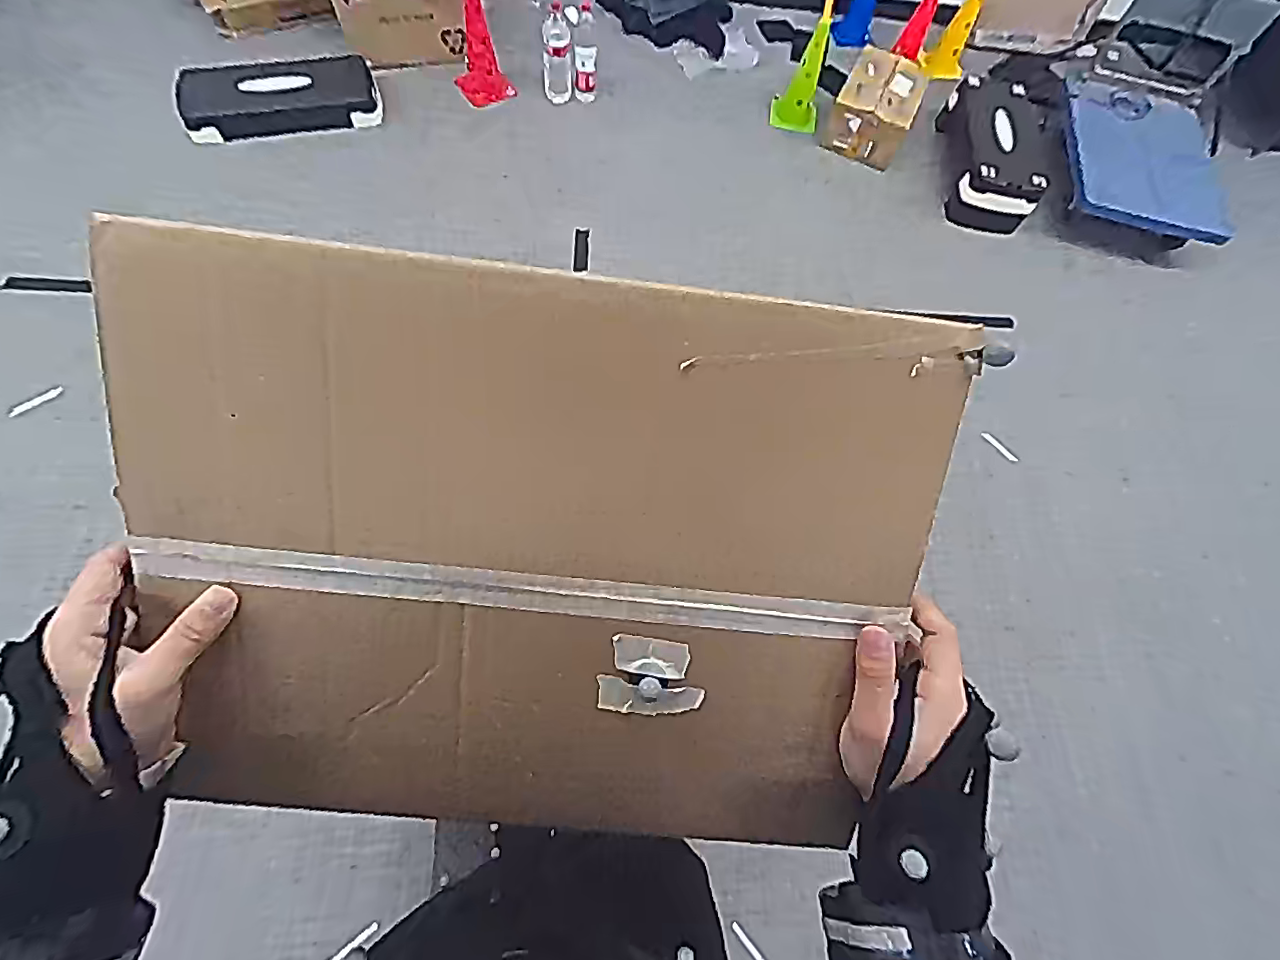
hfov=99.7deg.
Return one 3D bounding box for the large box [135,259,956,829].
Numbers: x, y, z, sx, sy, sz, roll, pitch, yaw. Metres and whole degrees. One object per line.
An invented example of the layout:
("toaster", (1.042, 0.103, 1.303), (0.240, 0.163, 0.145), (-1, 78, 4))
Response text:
("large box", (-0.058, 0.024, 0.440), (0.408, 0.320, 0.320), (6, 106, -4))
